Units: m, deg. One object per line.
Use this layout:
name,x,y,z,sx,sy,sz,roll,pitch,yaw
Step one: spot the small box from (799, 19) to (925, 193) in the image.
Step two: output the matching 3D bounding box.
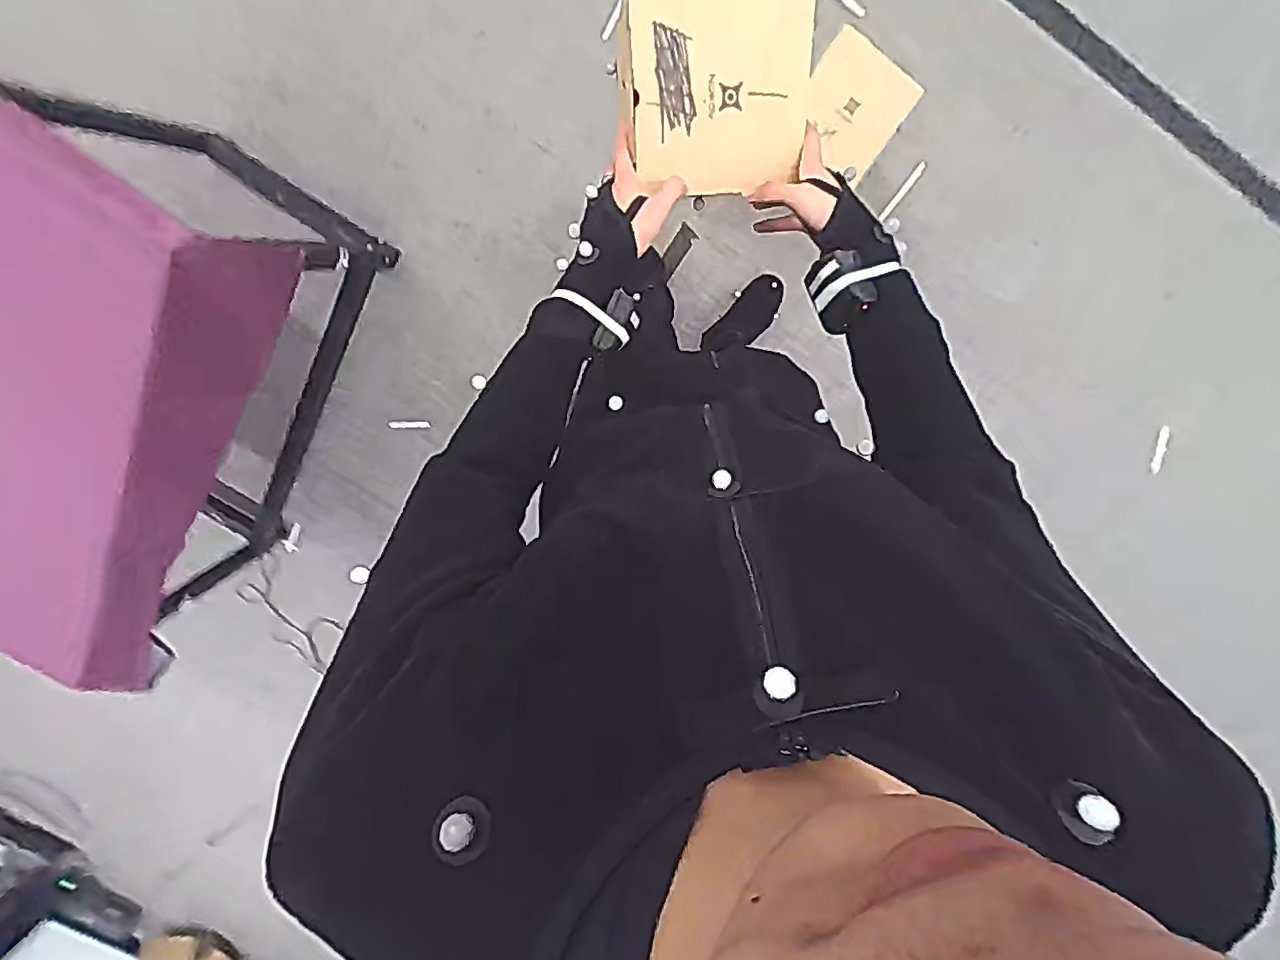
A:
small box,0.348,-0.638,0.950,0.168,0.176,0.179,35,113,-8

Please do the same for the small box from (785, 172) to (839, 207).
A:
small box,0.415,-0.758,1.251,0.168,0.176,0.179,30,113,-5

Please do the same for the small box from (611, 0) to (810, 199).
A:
small box,0.062,-0.398,0.577,0.179,0.176,0.168,-6,118,-3
